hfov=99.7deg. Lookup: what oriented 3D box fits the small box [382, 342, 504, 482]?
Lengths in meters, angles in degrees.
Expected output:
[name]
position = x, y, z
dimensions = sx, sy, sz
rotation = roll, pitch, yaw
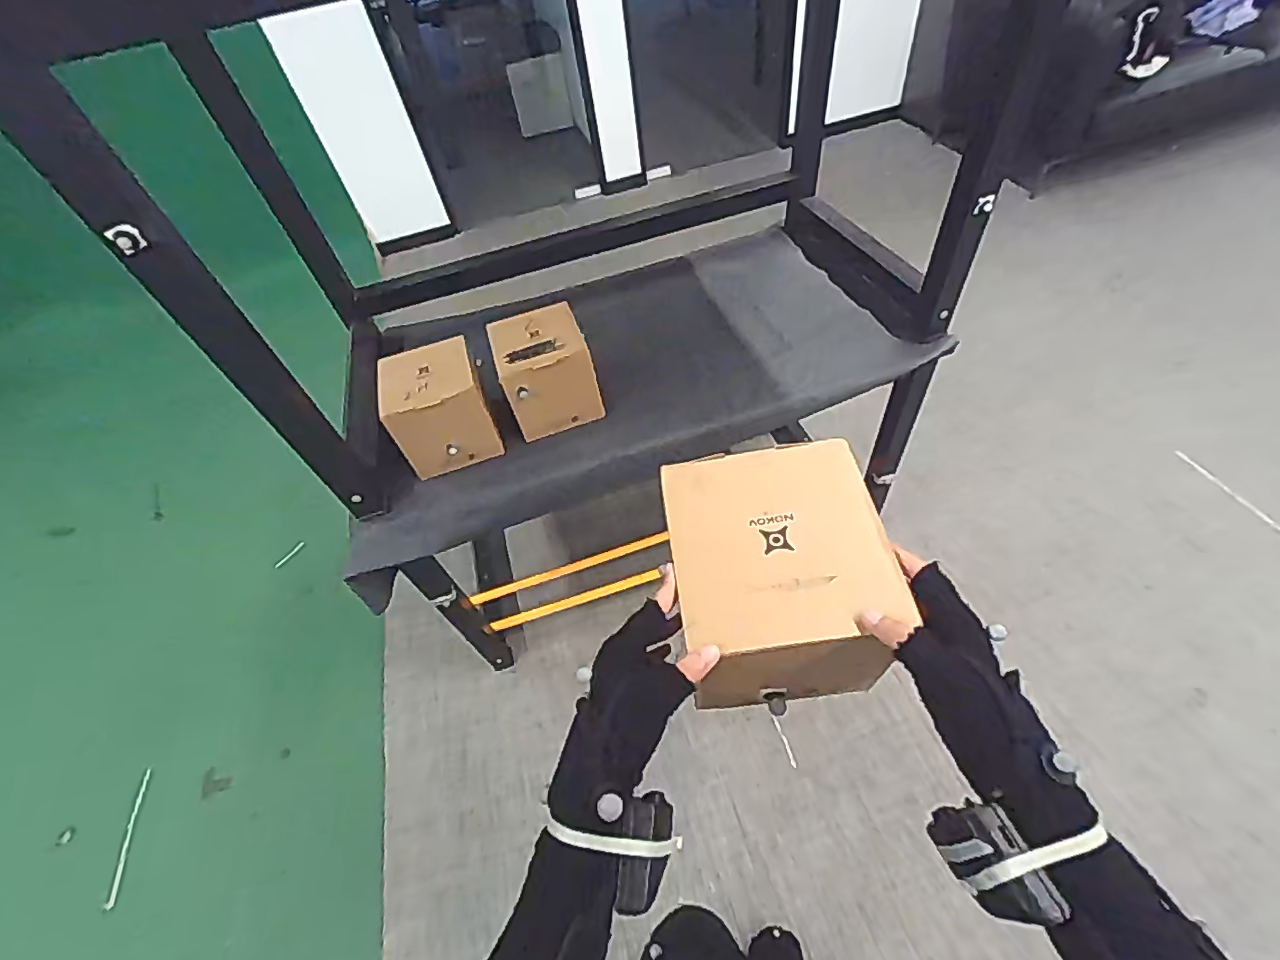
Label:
[small box]
position = -0.371, -0.128, 1.027
dimensions = 0.168, 0.176, 0.179
rotation = -19, 50, -7
